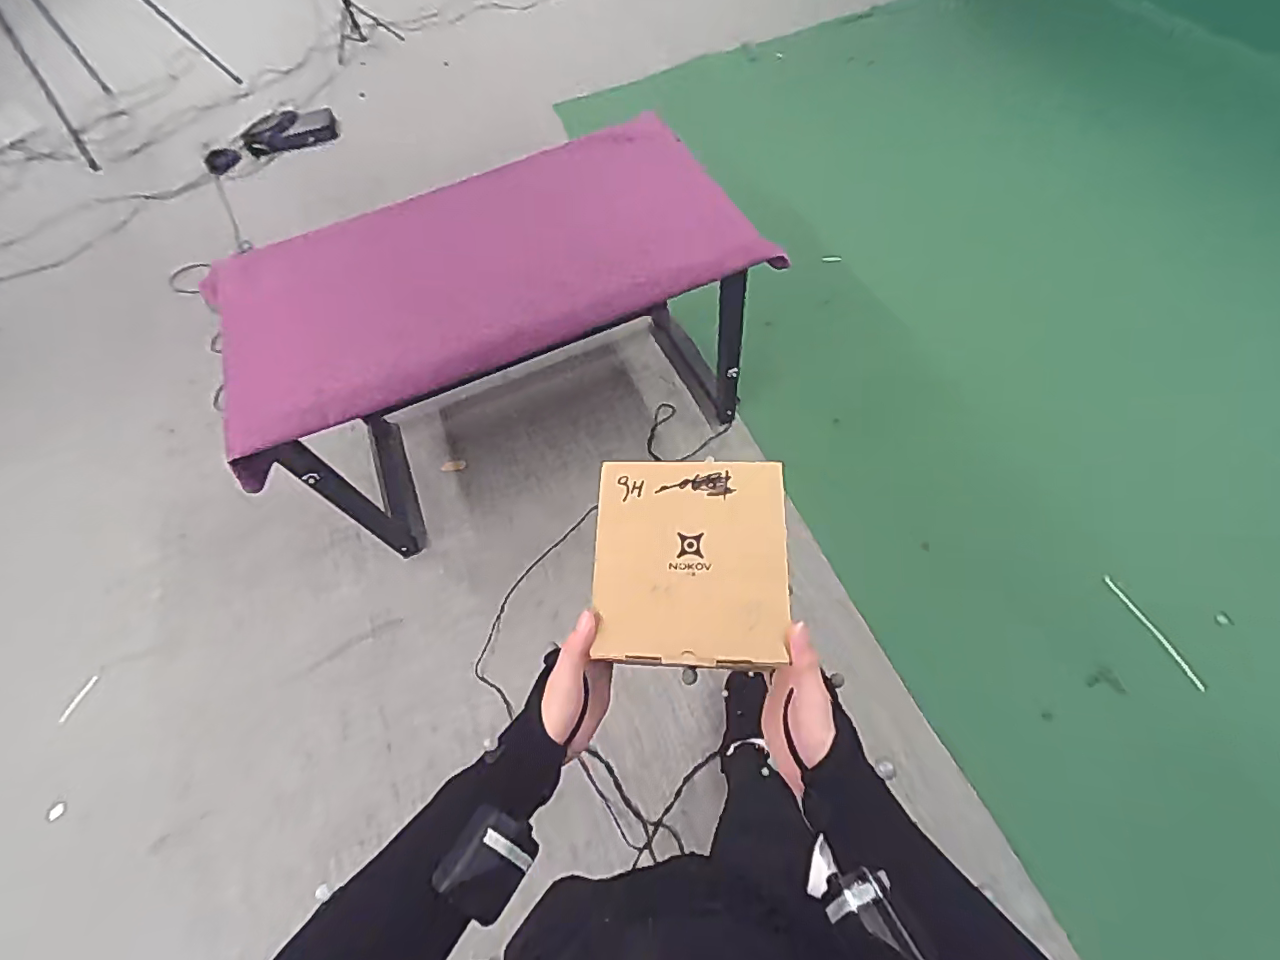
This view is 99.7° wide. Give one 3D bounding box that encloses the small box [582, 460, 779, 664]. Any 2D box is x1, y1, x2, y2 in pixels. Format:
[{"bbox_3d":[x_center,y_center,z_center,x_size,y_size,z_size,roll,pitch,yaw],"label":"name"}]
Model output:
[{"bbox_3d":[0.045,0.090,0.541,0.168,0.176,0.179,-1,70,6],"label":"small box"}]
